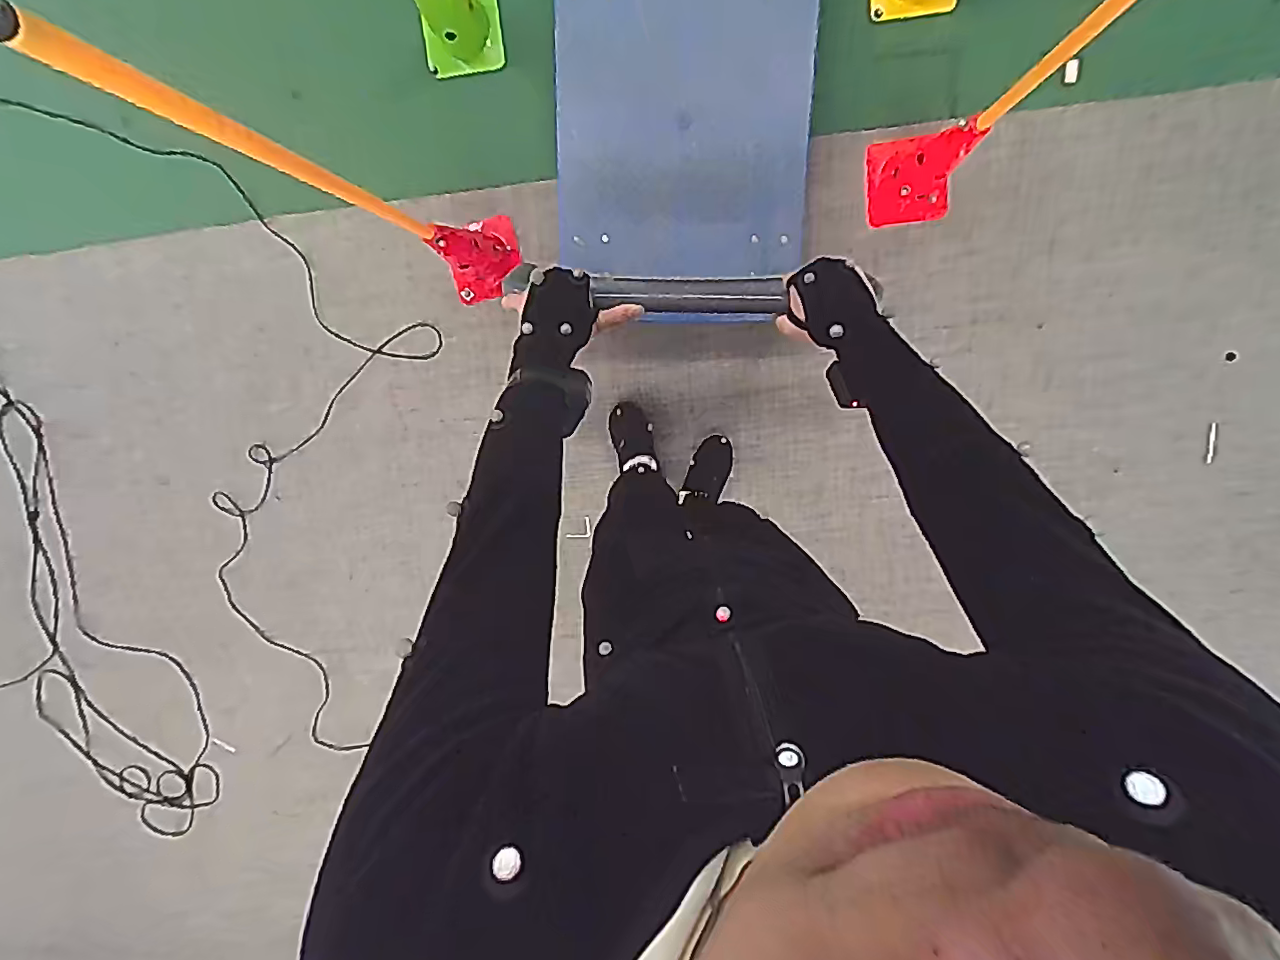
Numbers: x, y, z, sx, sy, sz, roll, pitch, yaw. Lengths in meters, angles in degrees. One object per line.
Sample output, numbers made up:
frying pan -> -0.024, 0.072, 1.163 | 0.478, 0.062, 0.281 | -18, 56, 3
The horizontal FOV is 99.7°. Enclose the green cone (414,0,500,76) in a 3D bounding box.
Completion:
green cone -> -0.465, -1.087, 1.169 | 0.200, 0.368, 0.202 | -5, 102, 6

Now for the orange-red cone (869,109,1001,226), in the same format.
orange-red cone -> 0.664, -0.712, 1.181 | 0.198, 0.360, 0.199 | -5, 101, 4
